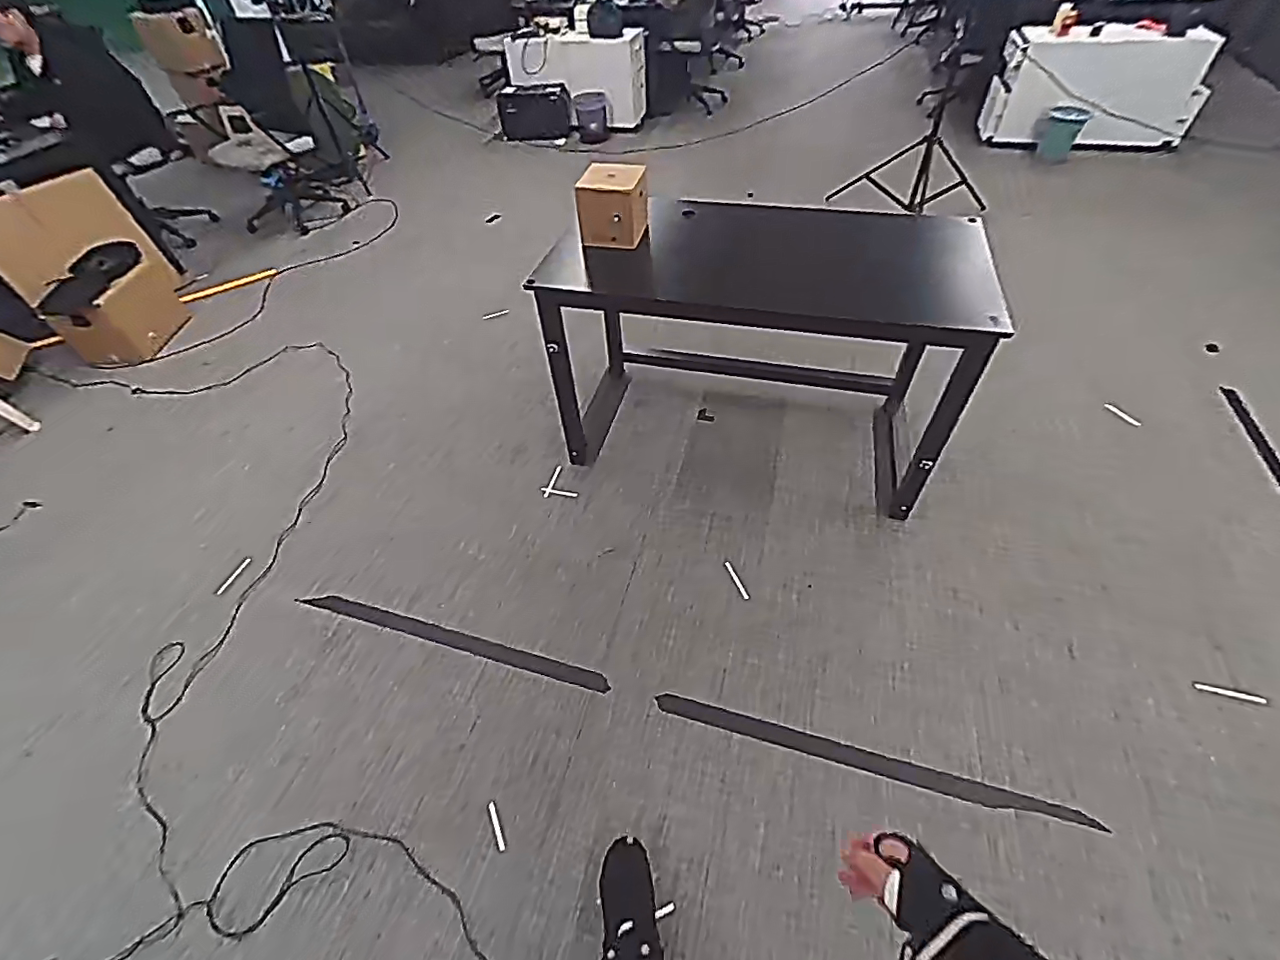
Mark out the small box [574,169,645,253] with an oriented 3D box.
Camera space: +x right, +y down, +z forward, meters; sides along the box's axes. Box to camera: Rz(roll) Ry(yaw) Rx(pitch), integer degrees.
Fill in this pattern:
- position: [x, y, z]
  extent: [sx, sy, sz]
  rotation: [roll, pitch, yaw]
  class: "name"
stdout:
- position: [-0.081, -0.789, 1.590]
  extent: [0.168, 0.176, 0.179]
  rotation: [10, 50, 10]
  class: "small box"
